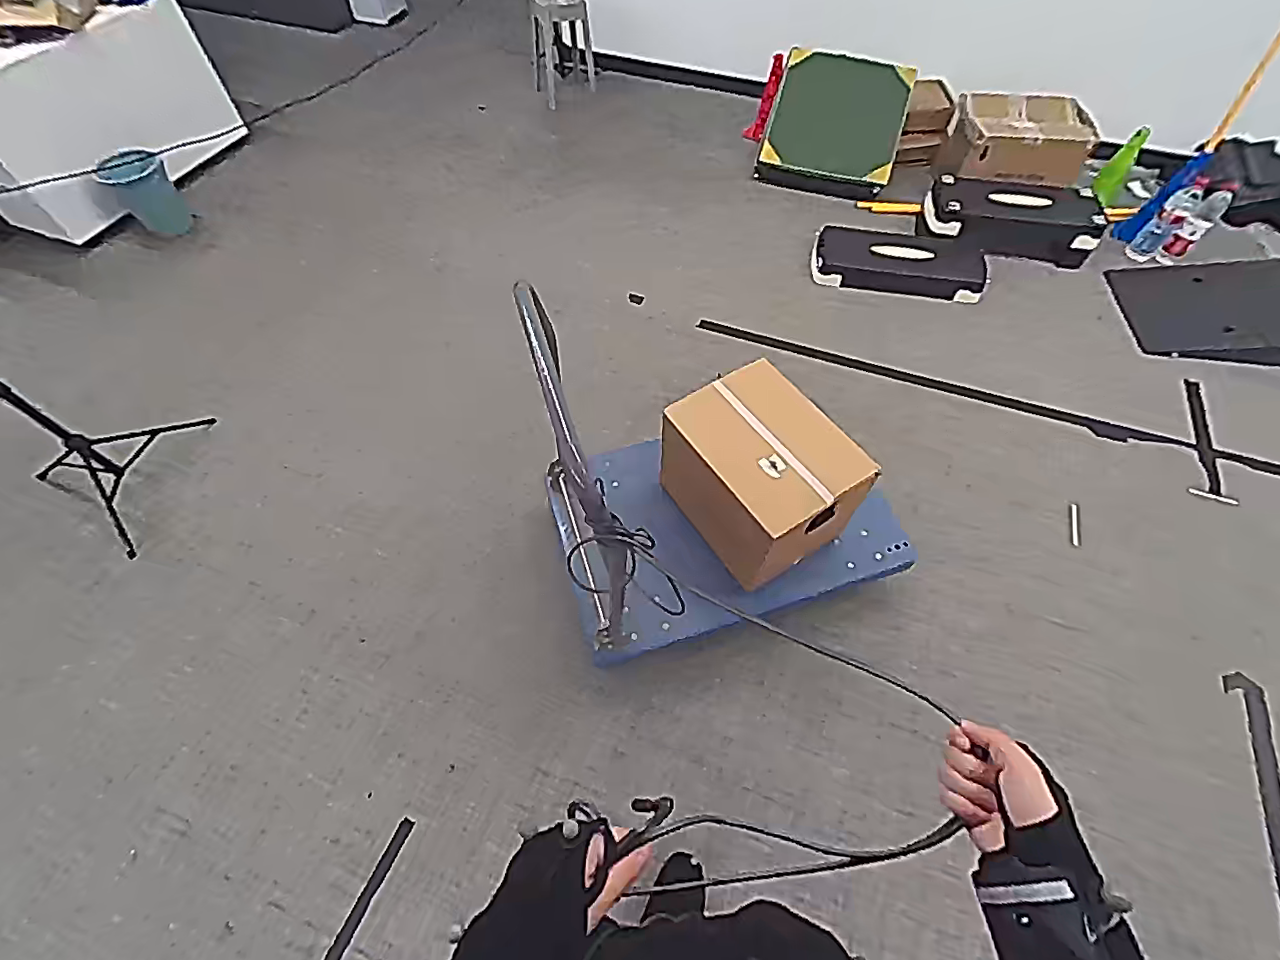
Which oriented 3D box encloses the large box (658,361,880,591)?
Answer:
[{"bbox_3d":[0.284,-0.010,1.334,0.320,0.320,0.408,-30,63,-16],"label":"large box"}]
